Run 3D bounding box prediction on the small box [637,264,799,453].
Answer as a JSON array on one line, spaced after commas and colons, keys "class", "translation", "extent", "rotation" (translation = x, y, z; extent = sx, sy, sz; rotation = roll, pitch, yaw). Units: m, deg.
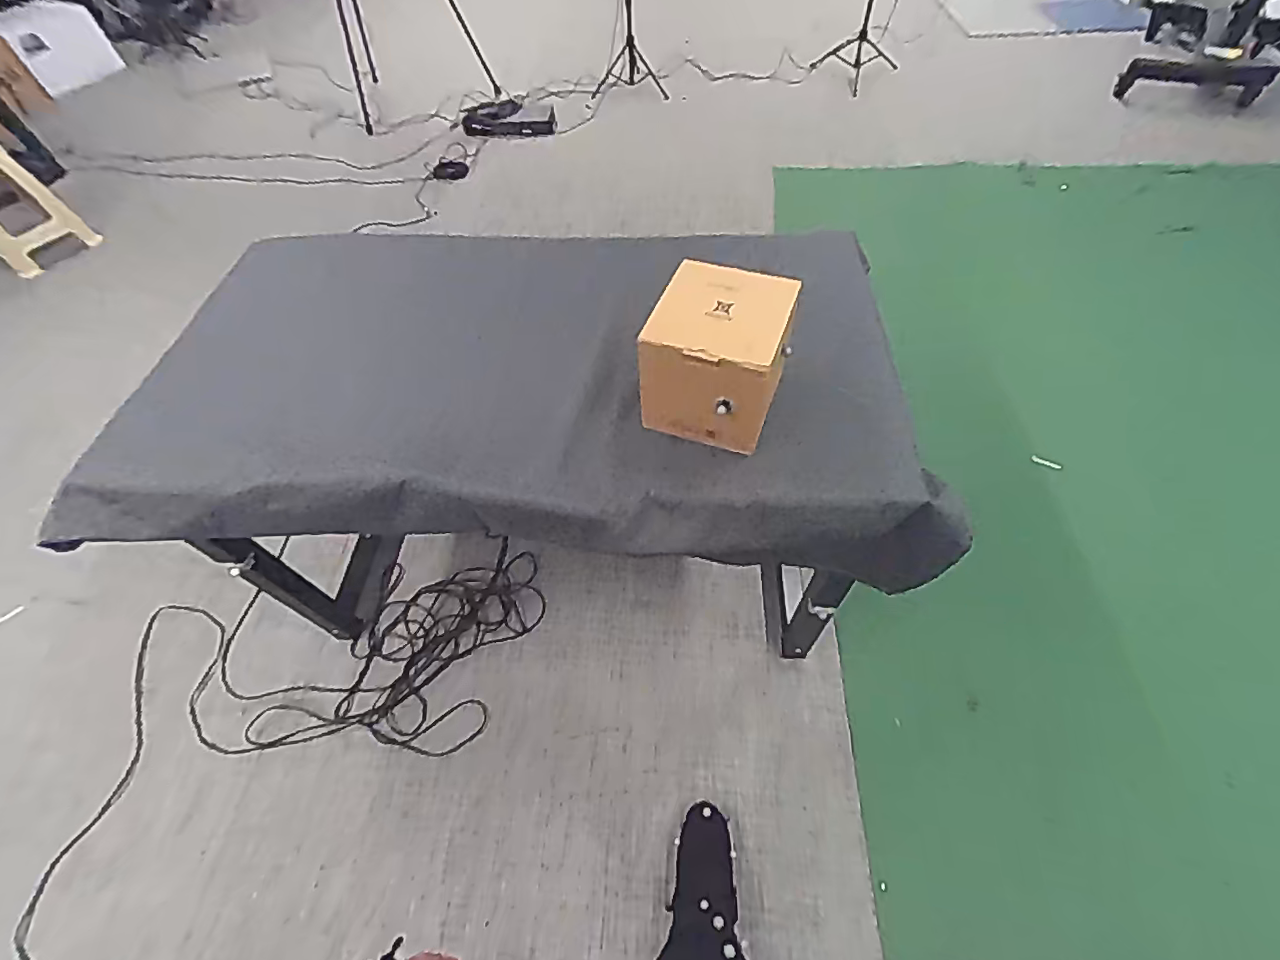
[{"class": "small box", "translation": [0.106, -0.164, 0.748], "extent": [0.168, 0.176, 0.179], "rotation": [17, 56, 14]}]
